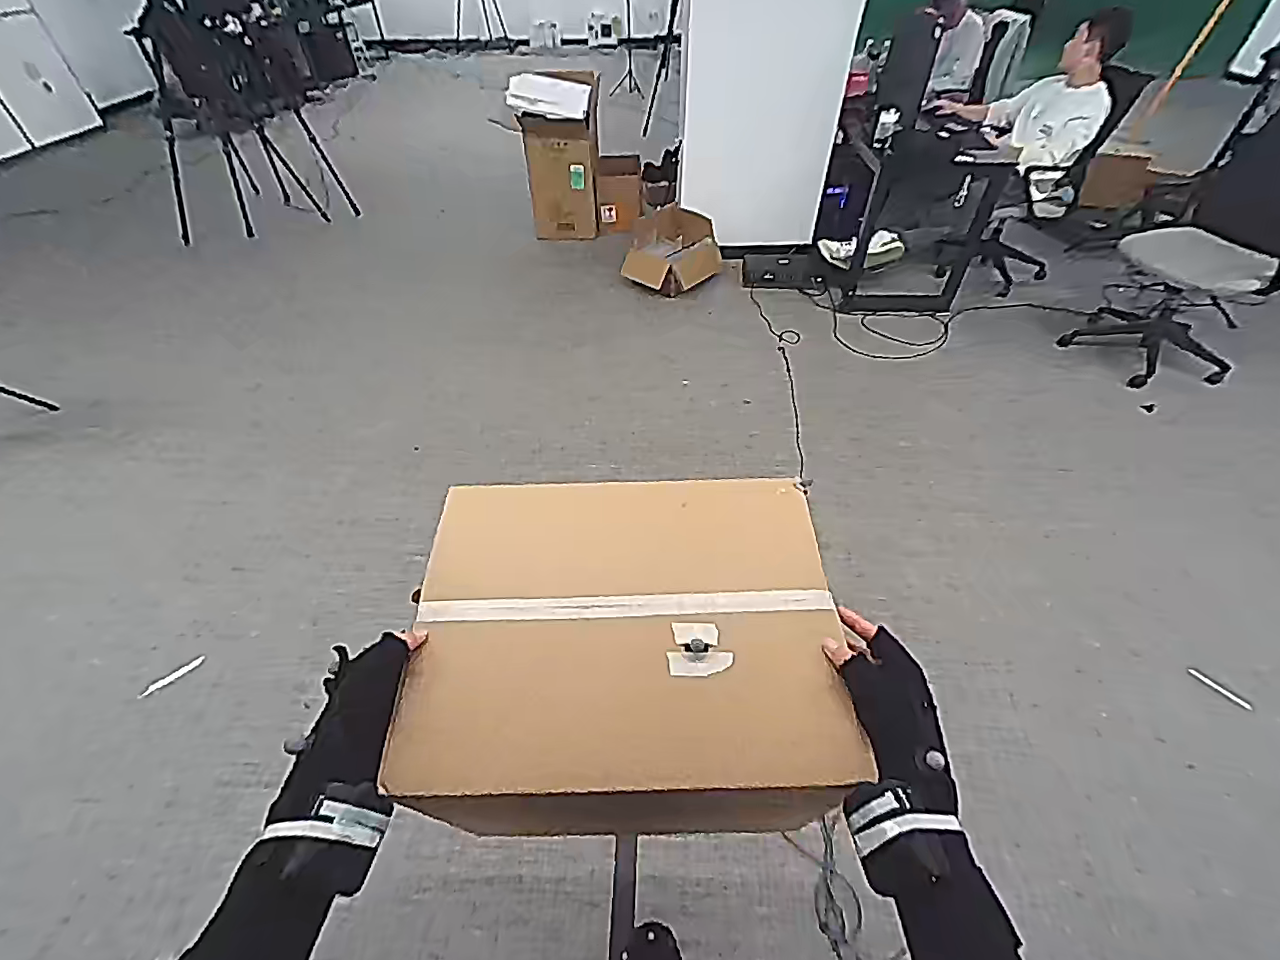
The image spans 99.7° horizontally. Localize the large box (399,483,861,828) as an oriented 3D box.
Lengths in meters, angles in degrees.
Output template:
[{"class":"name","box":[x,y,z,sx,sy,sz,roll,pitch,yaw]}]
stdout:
[{"class":"large box","box":[-0.012,0.221,0.664,0.408,0.320,0.320,-1,52,0]}]
